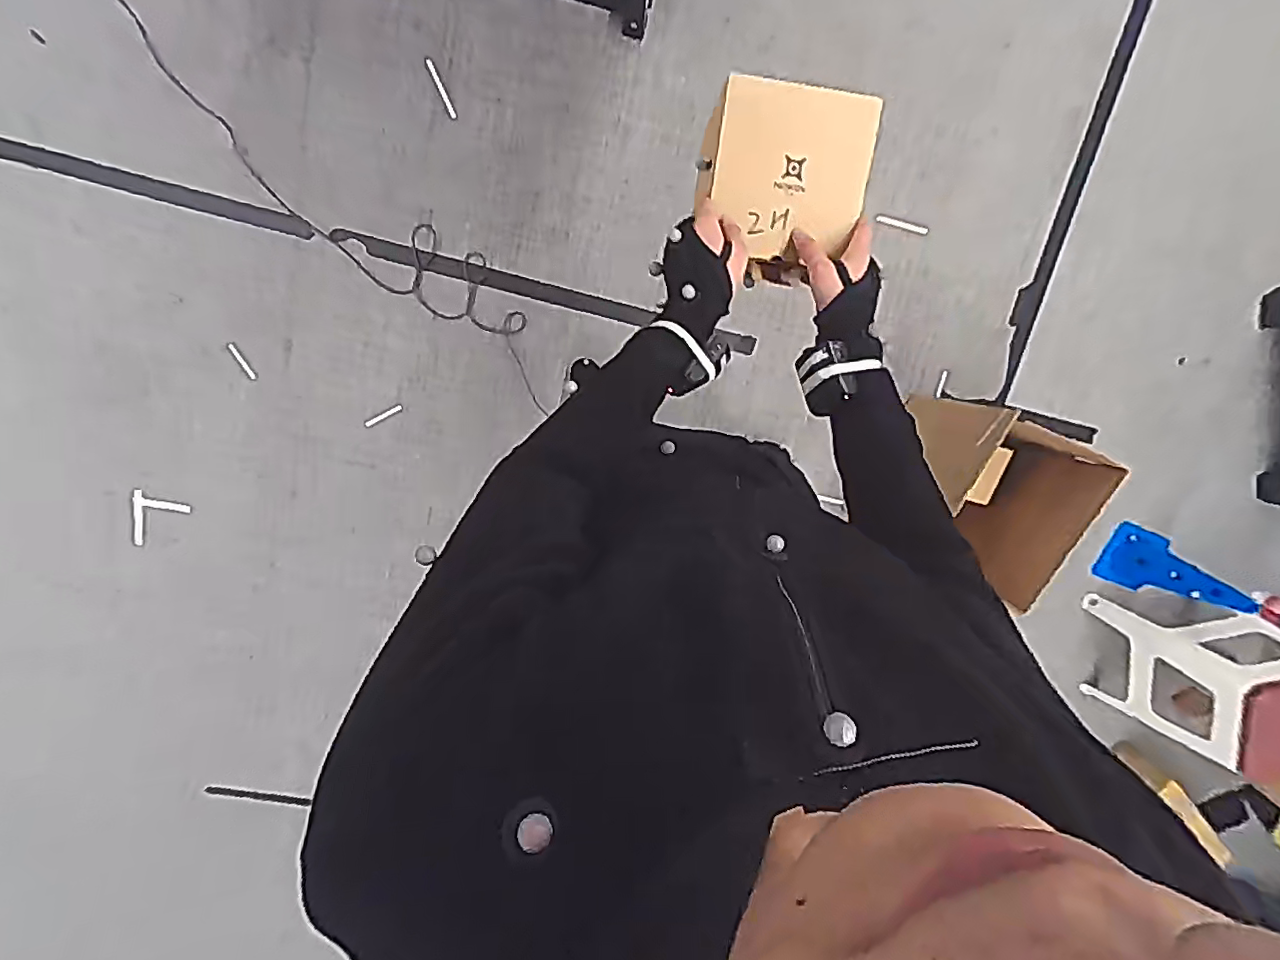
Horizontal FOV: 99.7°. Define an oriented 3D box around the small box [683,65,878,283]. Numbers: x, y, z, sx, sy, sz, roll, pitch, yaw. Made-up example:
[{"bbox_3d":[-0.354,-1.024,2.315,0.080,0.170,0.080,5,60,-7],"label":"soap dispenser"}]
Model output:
[{"bbox_3d":[0.149,-0.343,0.644,0.168,0.176,0.179,7,105,-4],"label":"small box"}]
